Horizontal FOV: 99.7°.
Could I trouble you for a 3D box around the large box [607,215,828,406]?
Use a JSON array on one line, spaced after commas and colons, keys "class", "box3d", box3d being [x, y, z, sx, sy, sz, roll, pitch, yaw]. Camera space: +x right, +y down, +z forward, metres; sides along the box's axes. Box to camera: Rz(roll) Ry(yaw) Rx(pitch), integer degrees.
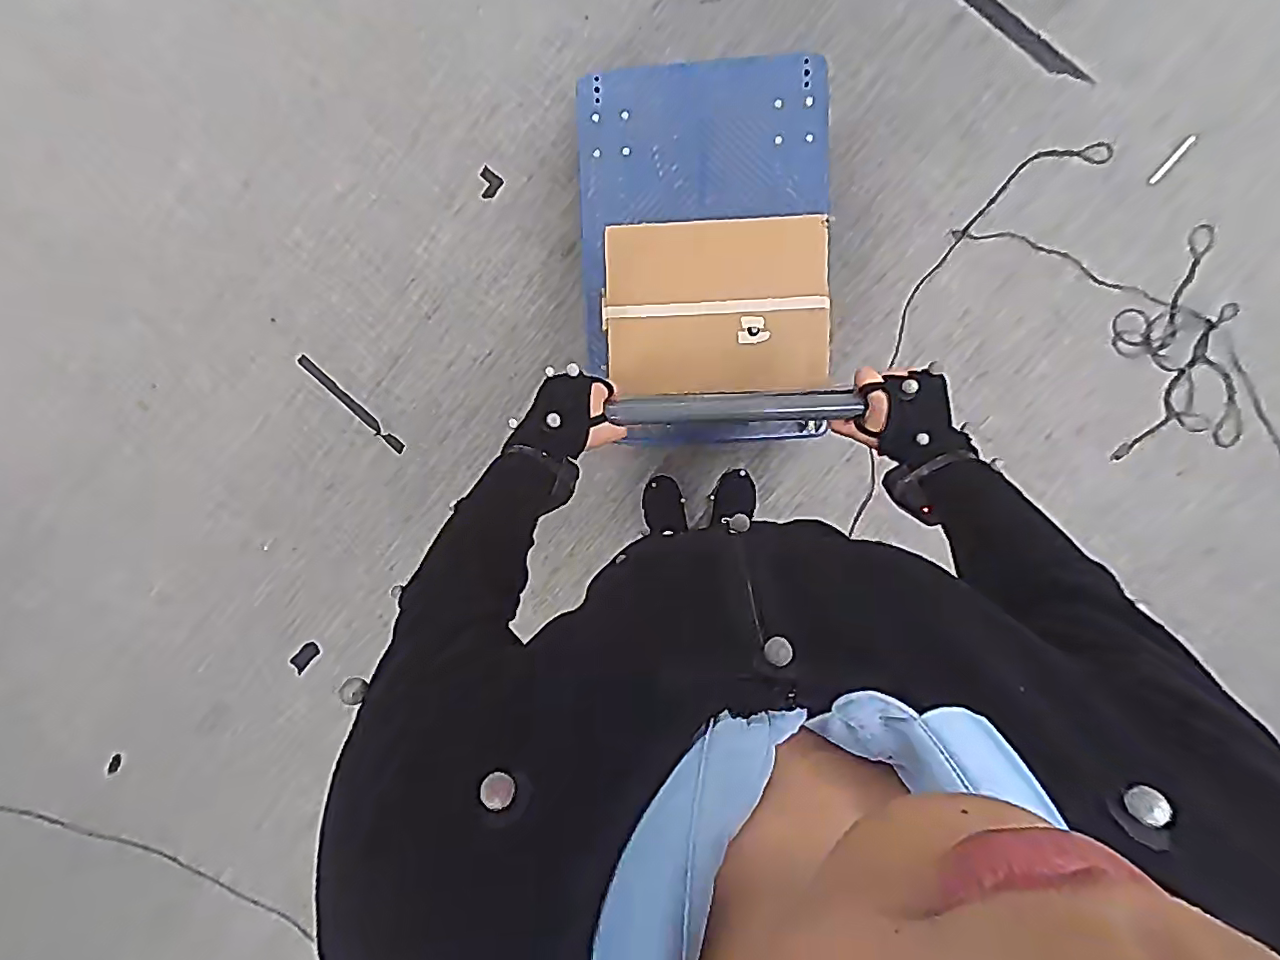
[{"class": "large box", "box3d": [0.149, -0.330, 1.144, 0.408, 0.320, 0.320, -2, 95, 3]}]
